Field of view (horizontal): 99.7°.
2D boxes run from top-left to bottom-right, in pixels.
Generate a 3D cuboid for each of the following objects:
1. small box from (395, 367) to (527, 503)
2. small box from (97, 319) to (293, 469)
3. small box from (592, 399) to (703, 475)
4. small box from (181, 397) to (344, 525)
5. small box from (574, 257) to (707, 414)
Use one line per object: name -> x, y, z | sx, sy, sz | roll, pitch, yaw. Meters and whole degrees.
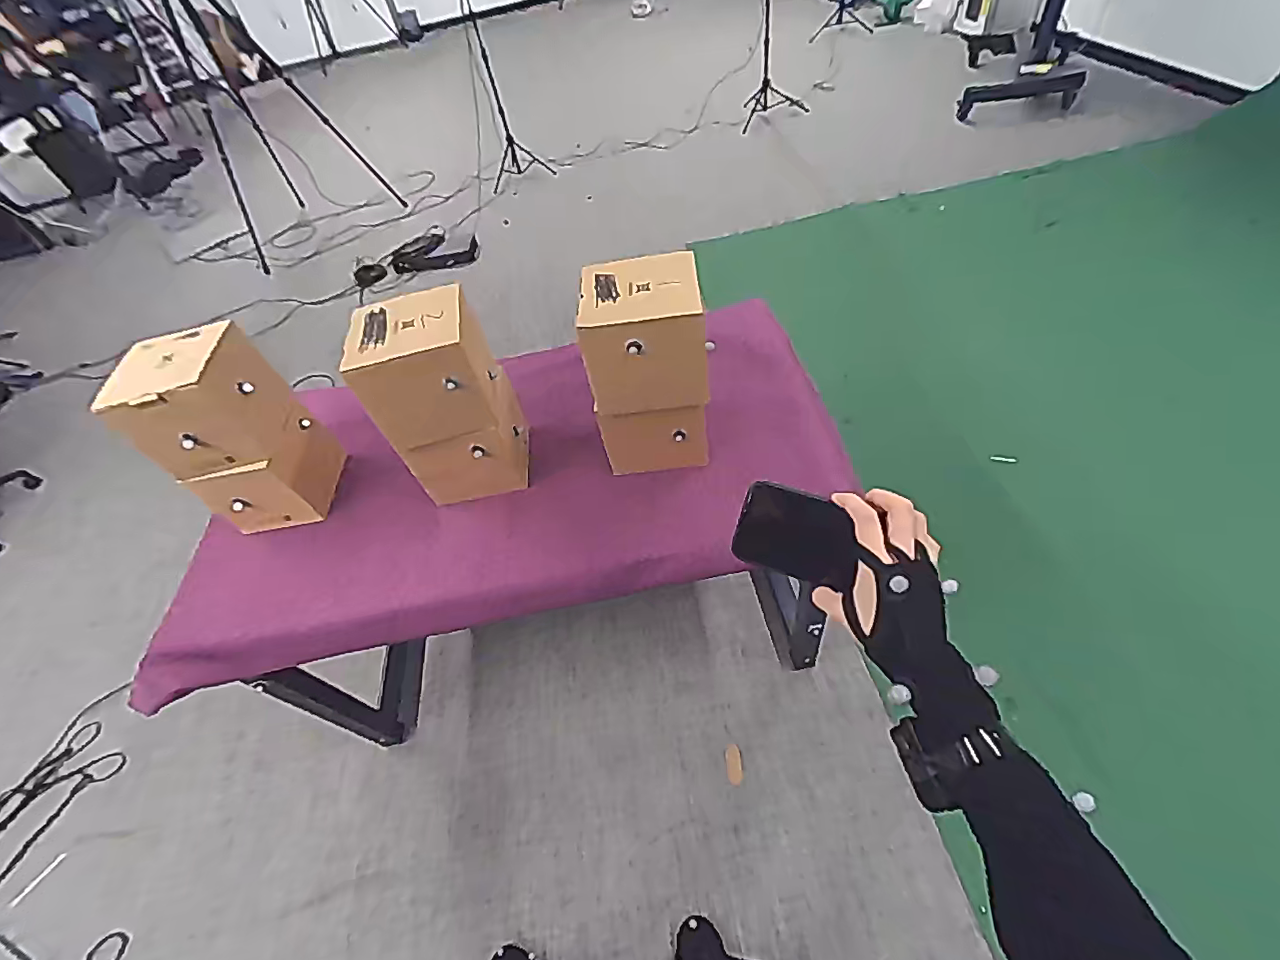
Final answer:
small box -> -0.315, -0.079, 0.998 | 0.179, 0.176, 0.168 | -10, 50, 3
small box -> -0.727, -0.137, 0.912 | 0.168, 0.176, 0.179 | -13, 51, -1
small box -> 0.022, -0.125, 0.973 | 0.179, 0.176, 0.168 | -5, 50, 8
small box -> -0.701, -0.028, 1.032 | 0.168, 0.176, 0.179 | -9, 50, 3
small box -> 0.007, -0.218, 0.838 | 0.179, 0.176, 0.168 | -5, 50, 6
